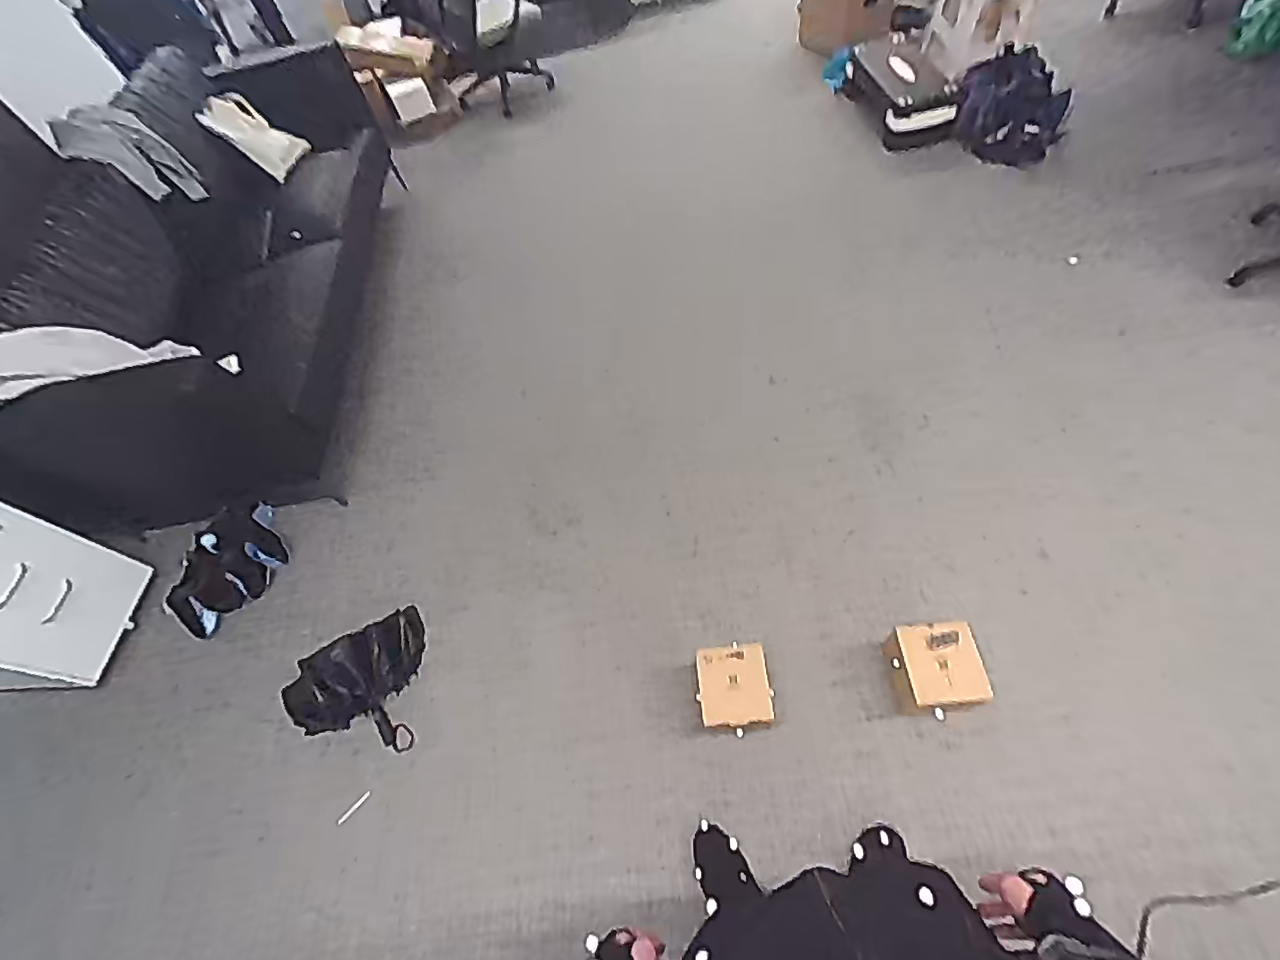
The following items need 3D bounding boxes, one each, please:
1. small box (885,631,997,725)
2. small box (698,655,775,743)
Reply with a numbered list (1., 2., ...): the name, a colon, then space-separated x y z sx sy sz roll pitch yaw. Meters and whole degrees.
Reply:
1. small box: 0.711 0.479 1.302 0.168 0.176 0.179 -8 58 7
2. small box: 0.242 0.553 1.352 0.168 0.176 0.179 -8 56 7
